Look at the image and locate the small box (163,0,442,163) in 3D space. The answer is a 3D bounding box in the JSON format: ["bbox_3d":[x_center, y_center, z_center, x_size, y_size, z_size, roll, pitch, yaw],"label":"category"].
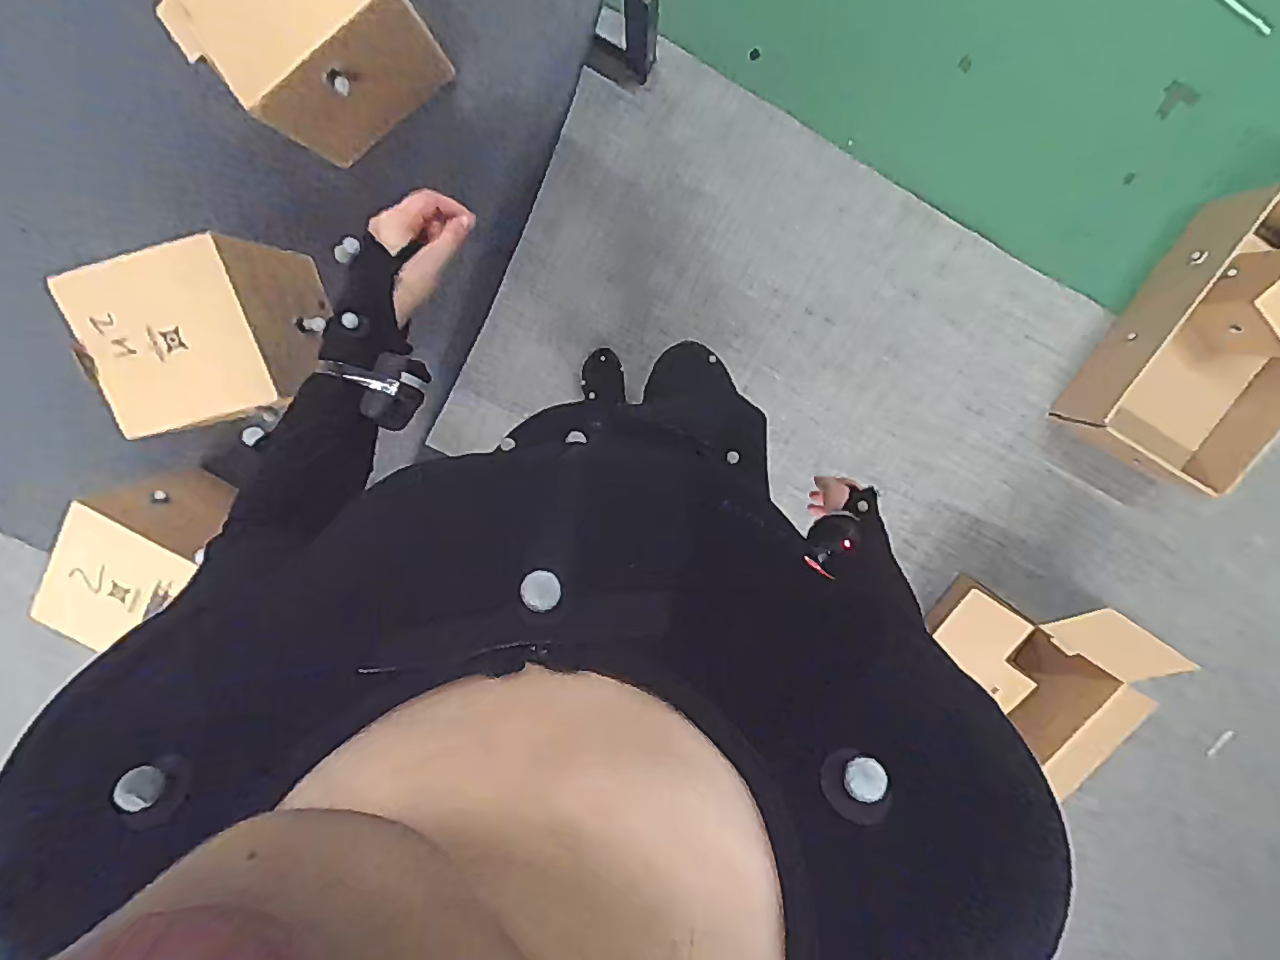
[{"bbox_3d":[-0.322,-0.457,0.532,0.179,0.176,0.168,-33,103,9],"label":"small box"}]

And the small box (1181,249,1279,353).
[{"bbox_3d":[1.456,-0.424,1.268,0.179,0.176,0.168,42,102,-12],"label":"small box"}]

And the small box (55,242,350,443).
[{"bbox_3d":[-0.464,-0.154,0.614,0.179,0.176,0.168,-14,104,4],"label":"small box"}]
